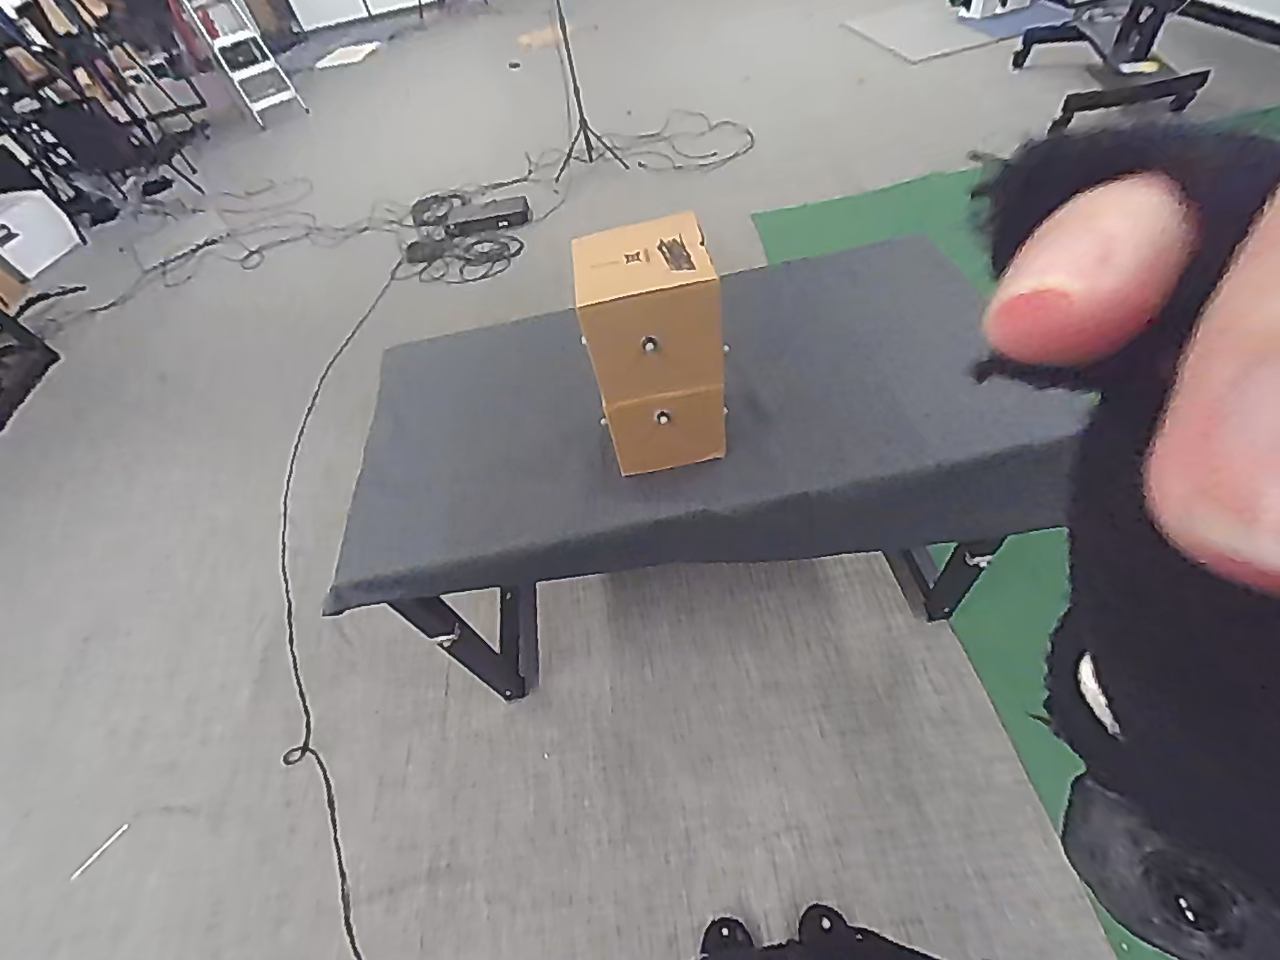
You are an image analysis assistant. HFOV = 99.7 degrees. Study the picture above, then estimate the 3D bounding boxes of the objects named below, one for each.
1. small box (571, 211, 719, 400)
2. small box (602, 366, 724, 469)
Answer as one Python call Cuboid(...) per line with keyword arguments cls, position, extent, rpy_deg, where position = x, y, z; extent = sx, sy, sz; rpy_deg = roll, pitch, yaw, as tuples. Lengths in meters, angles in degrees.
Cuboid(cls="small box", position=(0.012, -0.236, 0.752), extent=(0.179, 0.176, 0.168), rpy_deg=(-11, 53, 4))
Cuboid(cls="small box", position=(0.034, -0.137, 0.881), extent=(0.179, 0.176, 0.168), rpy_deg=(-11, 53, 2))
